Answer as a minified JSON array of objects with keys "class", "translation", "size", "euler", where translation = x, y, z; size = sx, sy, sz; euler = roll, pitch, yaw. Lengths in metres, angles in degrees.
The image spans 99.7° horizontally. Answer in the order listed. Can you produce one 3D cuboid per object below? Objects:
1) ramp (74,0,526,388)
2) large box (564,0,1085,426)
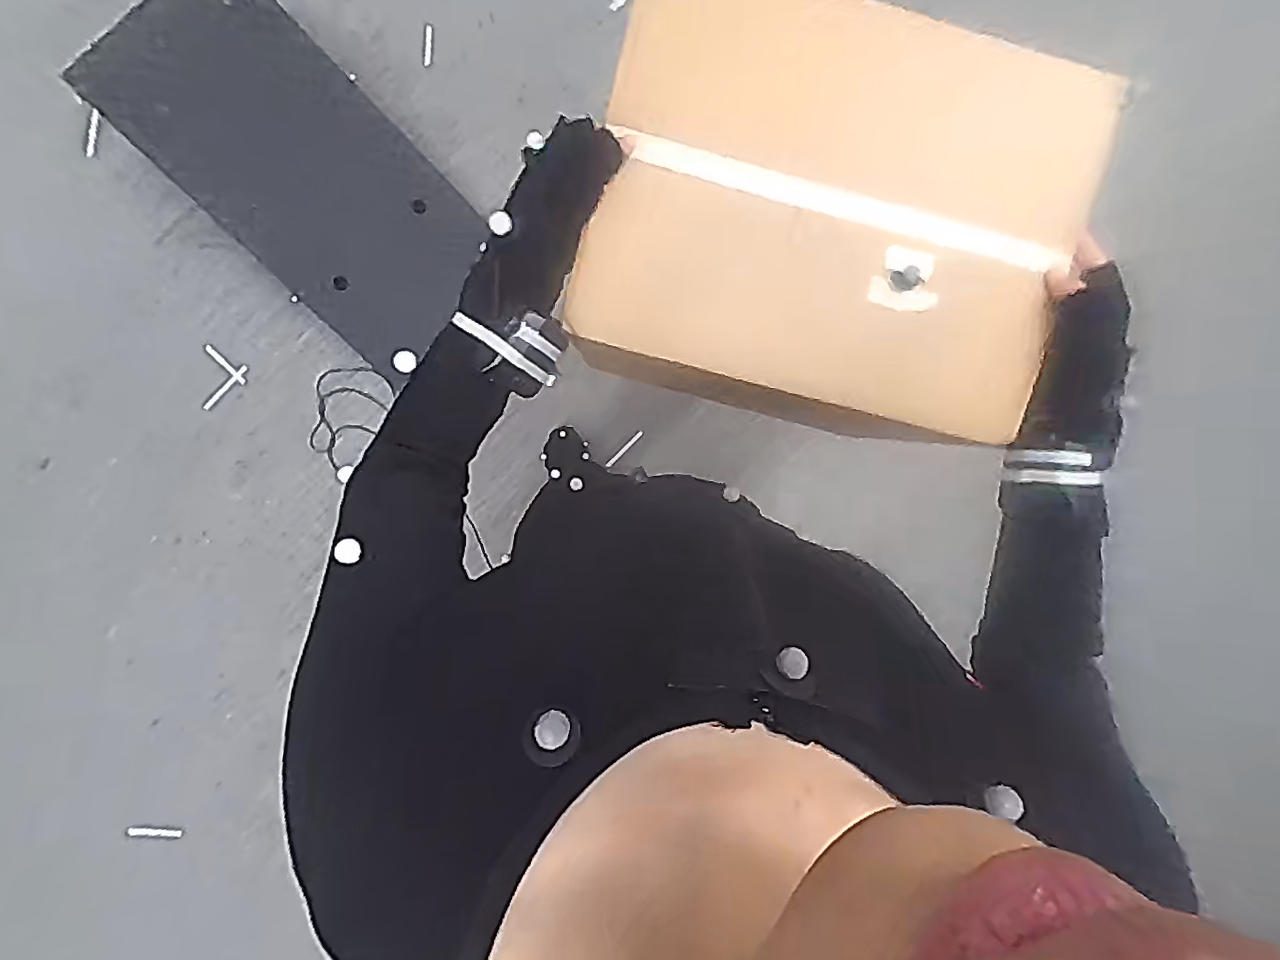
[{"class":"ramp","translation":[-0.815,-0.759,1.380],"size":[0.991,0.206,0.509],"euler":[43,87,-2]},{"class":"large box","translation":[0.149,-0.252,0.609],"size":[0.408,0.320,0.320],"euler":[13,96,-4]}]
